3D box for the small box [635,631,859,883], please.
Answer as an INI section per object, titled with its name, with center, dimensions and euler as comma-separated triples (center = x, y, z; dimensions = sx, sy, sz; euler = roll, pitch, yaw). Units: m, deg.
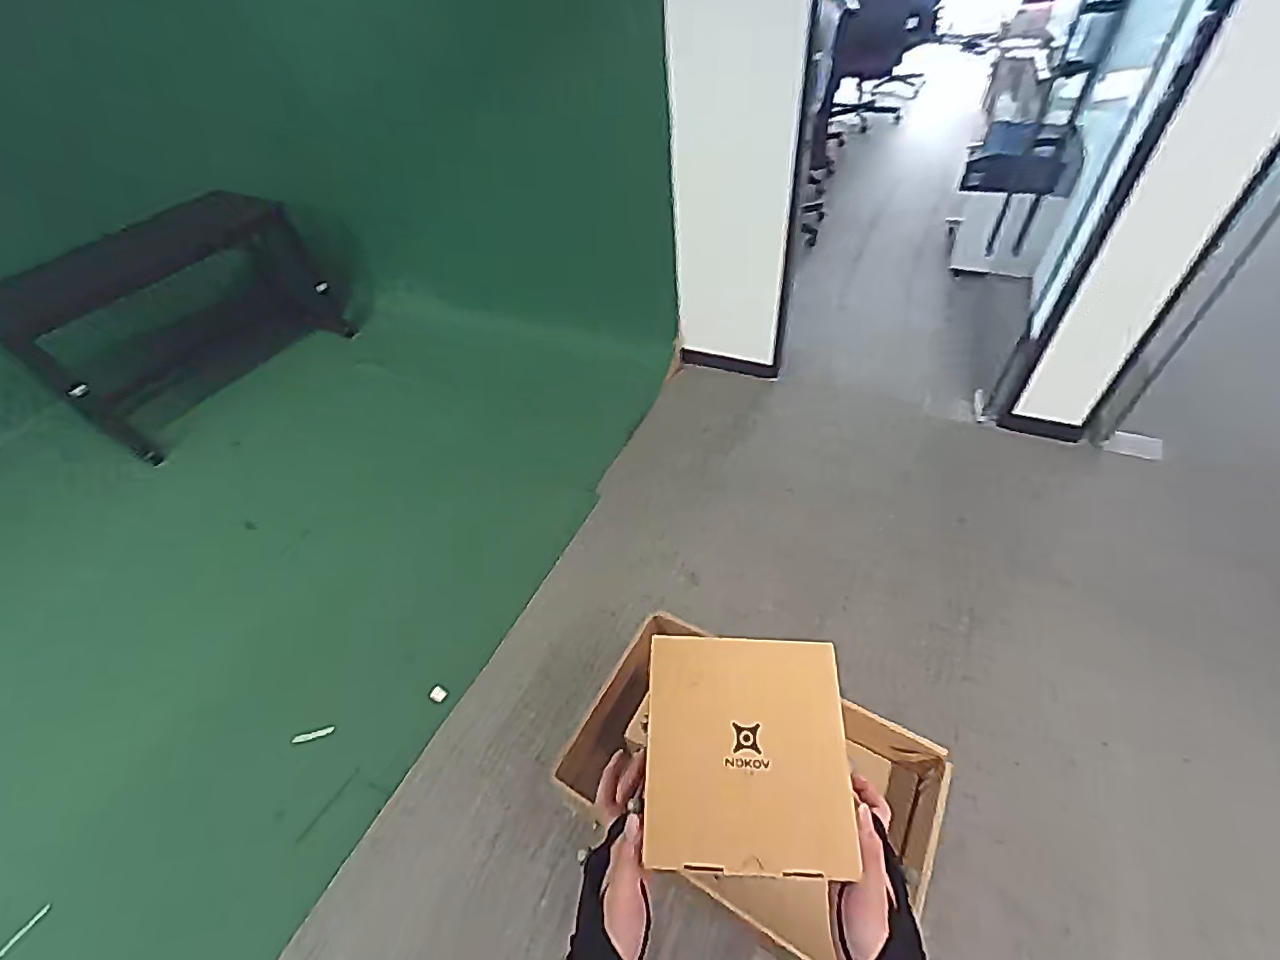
[small box]
center = 0.081, 0.254, 0.503
dimensions = 0.168, 0.176, 0.179
euler = 2, 59, 2
